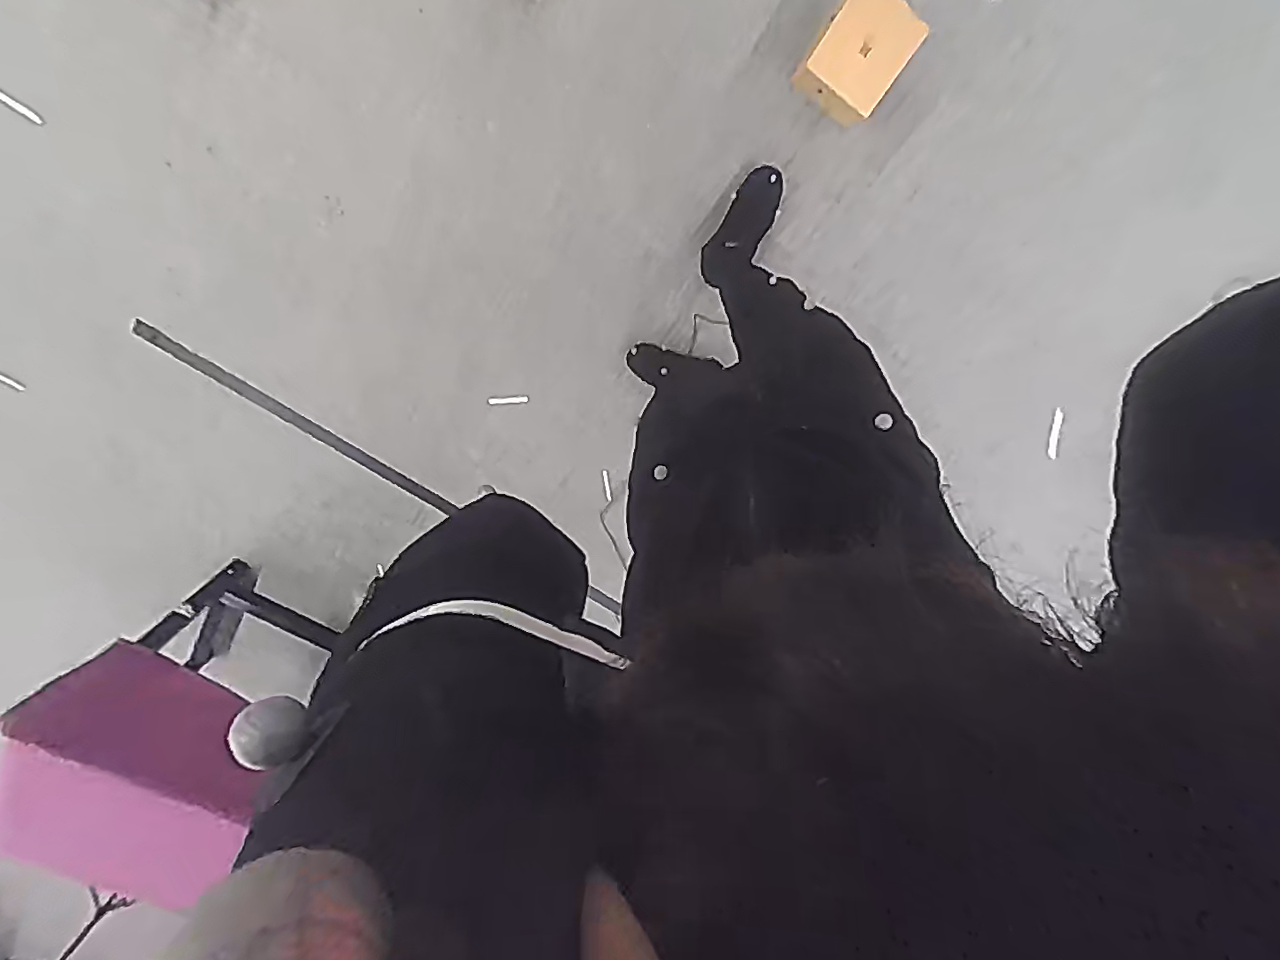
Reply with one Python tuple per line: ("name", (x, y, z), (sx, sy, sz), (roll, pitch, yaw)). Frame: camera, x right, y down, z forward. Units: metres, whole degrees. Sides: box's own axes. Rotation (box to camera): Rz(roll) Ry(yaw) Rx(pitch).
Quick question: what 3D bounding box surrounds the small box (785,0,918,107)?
("small box", (0.418, -0.905, 1.107), (0.168, 0.176, 0.179), (31, 115, -14))
